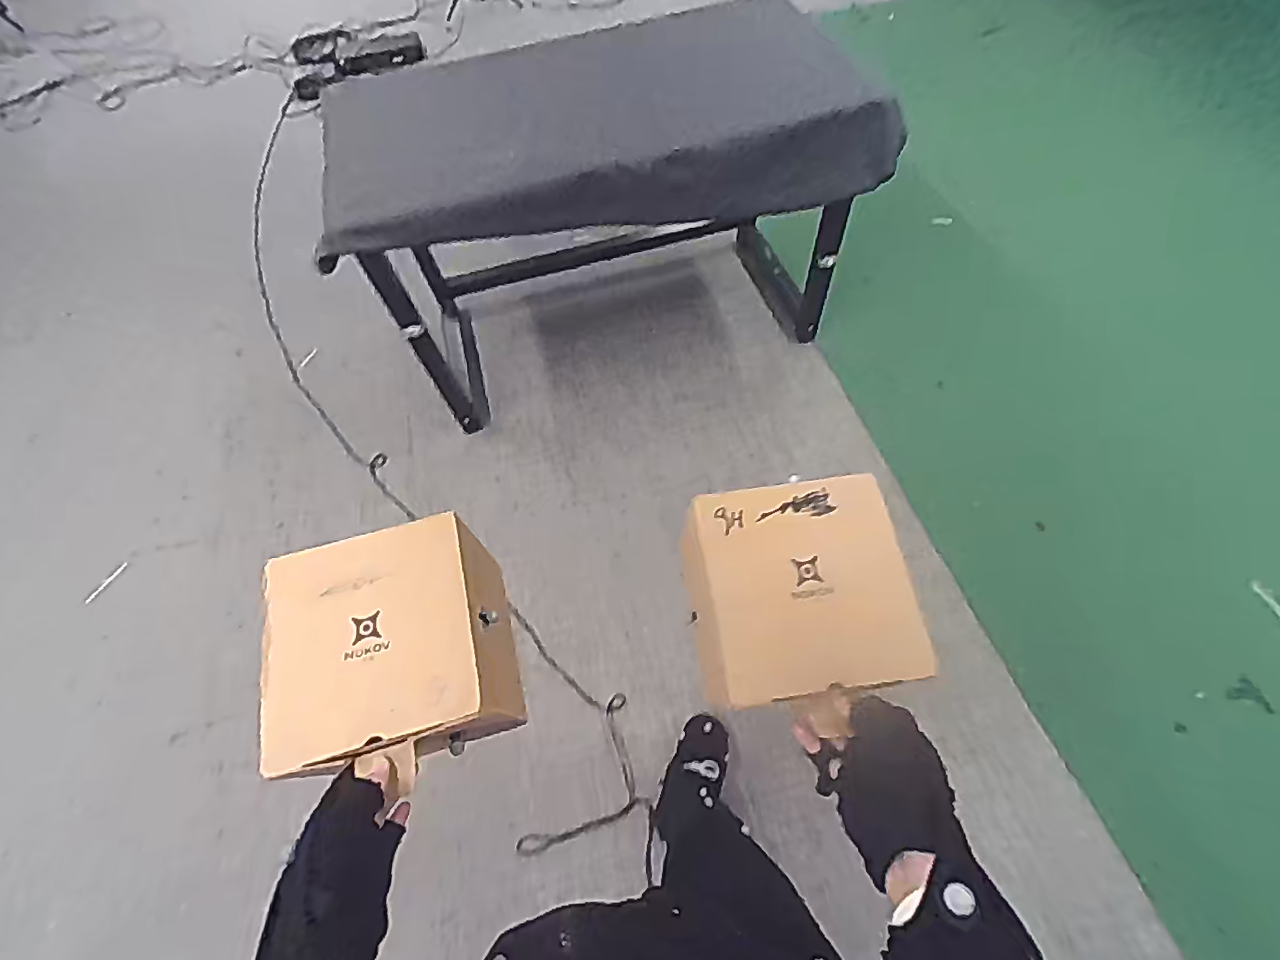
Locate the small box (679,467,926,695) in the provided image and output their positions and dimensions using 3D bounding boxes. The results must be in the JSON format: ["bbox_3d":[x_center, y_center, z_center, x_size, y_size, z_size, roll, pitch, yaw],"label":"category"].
[{"bbox_3d":[0.137,0.105,0.531,0.168,0.176,0.179,-7,70,-5],"label":"small box"}]

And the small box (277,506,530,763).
[{"bbox_3d":[-0.212,0.152,0.518,0.168,0.176,0.179,-15,63,-7],"label":"small box"}]
